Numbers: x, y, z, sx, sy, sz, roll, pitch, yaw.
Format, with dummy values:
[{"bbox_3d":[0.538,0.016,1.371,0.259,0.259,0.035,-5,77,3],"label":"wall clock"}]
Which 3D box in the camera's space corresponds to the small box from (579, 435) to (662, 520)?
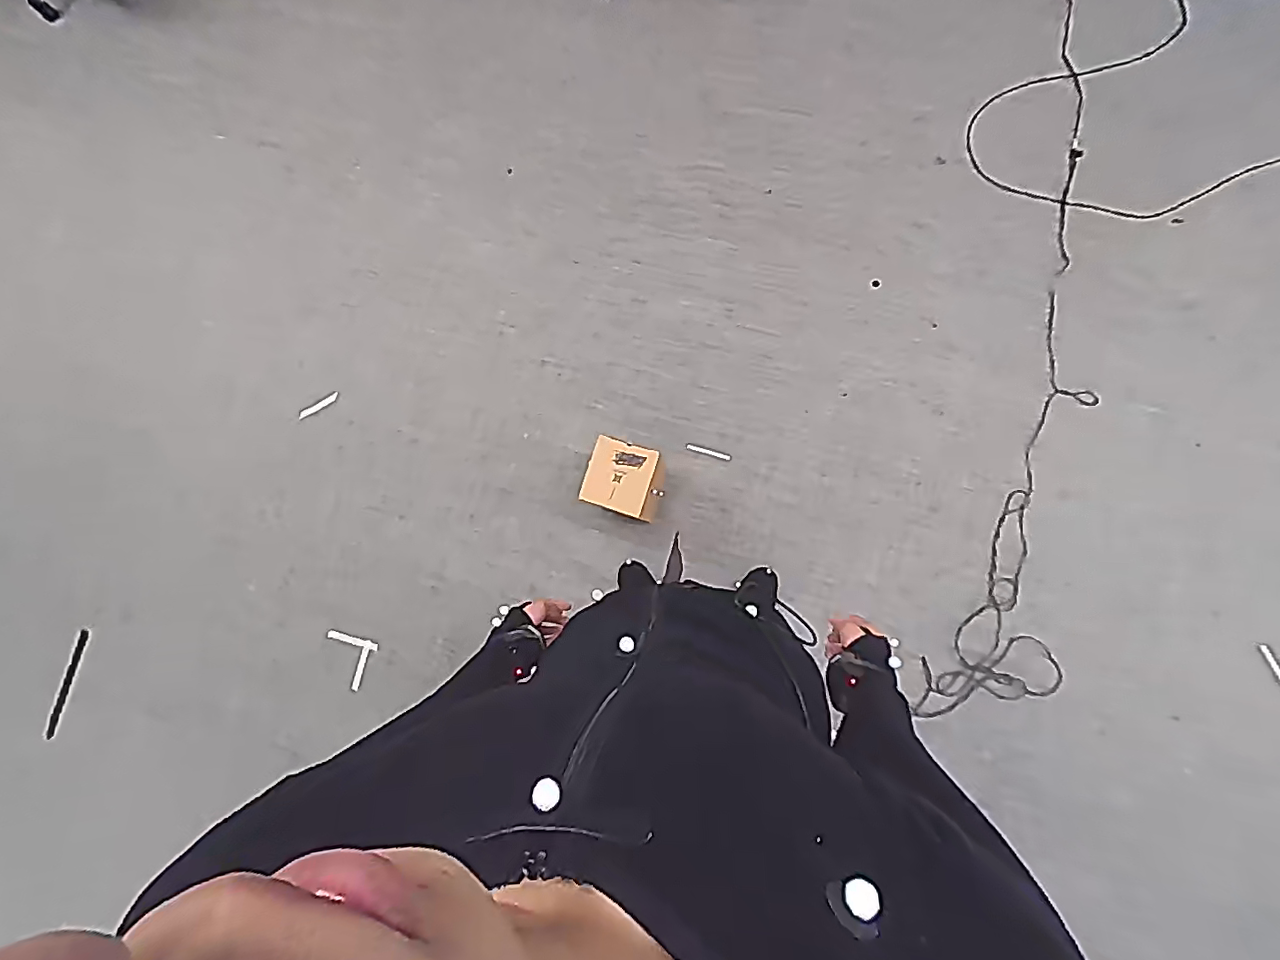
[{"bbox_3d":[-0.044,-0.002,1.434,0.168,0.176,0.179,18,86,8],"label":"small box"}]
